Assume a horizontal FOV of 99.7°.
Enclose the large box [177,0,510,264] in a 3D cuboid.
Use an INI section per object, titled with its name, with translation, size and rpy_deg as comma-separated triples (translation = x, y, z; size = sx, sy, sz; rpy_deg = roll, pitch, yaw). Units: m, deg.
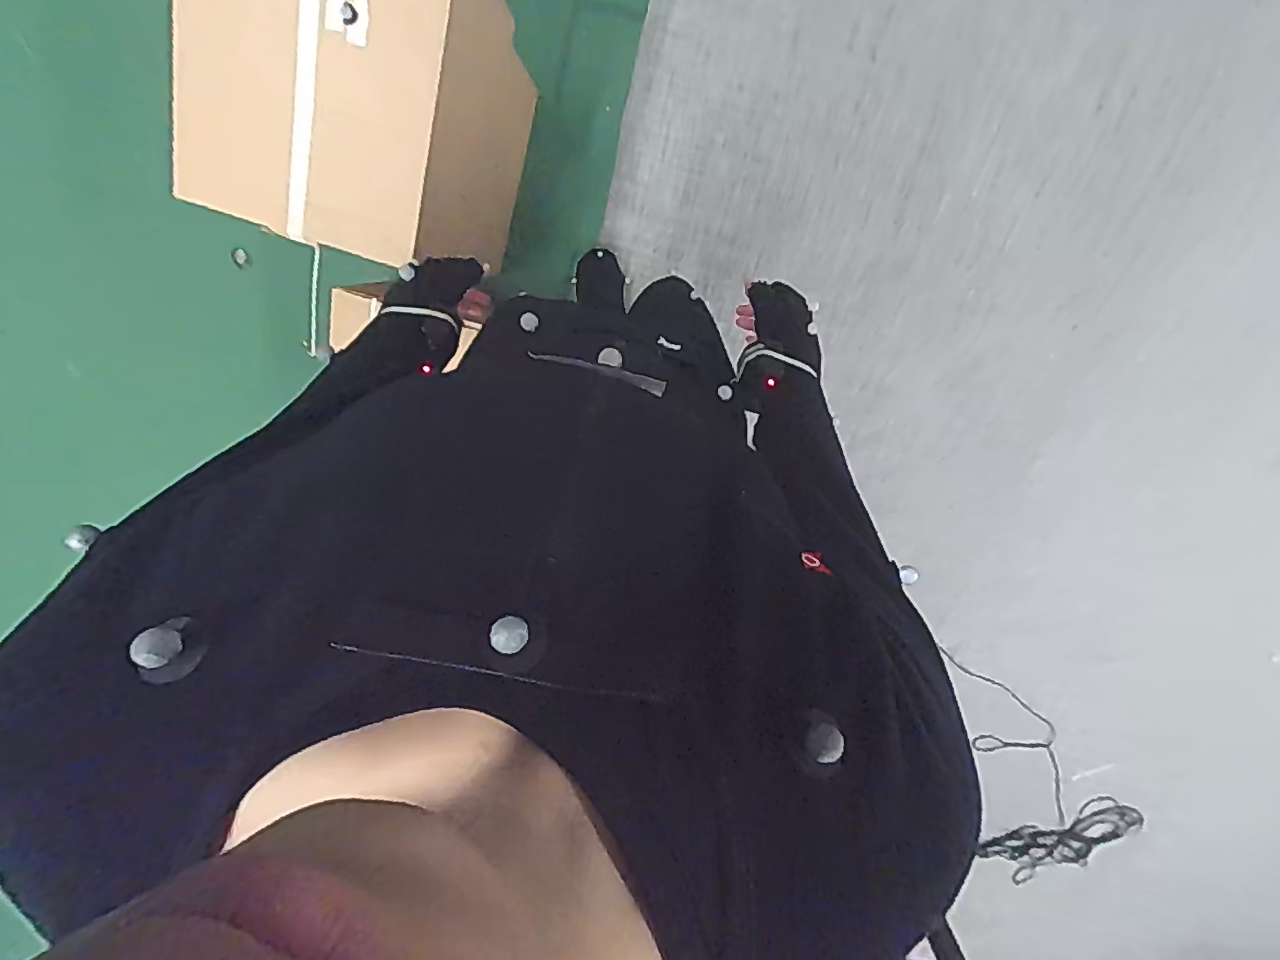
[large box]
translation = -0.408, -0.568, 0.800
size = 0.320, 0.320, 0.408
rpy_deg = 15, 110, -9
